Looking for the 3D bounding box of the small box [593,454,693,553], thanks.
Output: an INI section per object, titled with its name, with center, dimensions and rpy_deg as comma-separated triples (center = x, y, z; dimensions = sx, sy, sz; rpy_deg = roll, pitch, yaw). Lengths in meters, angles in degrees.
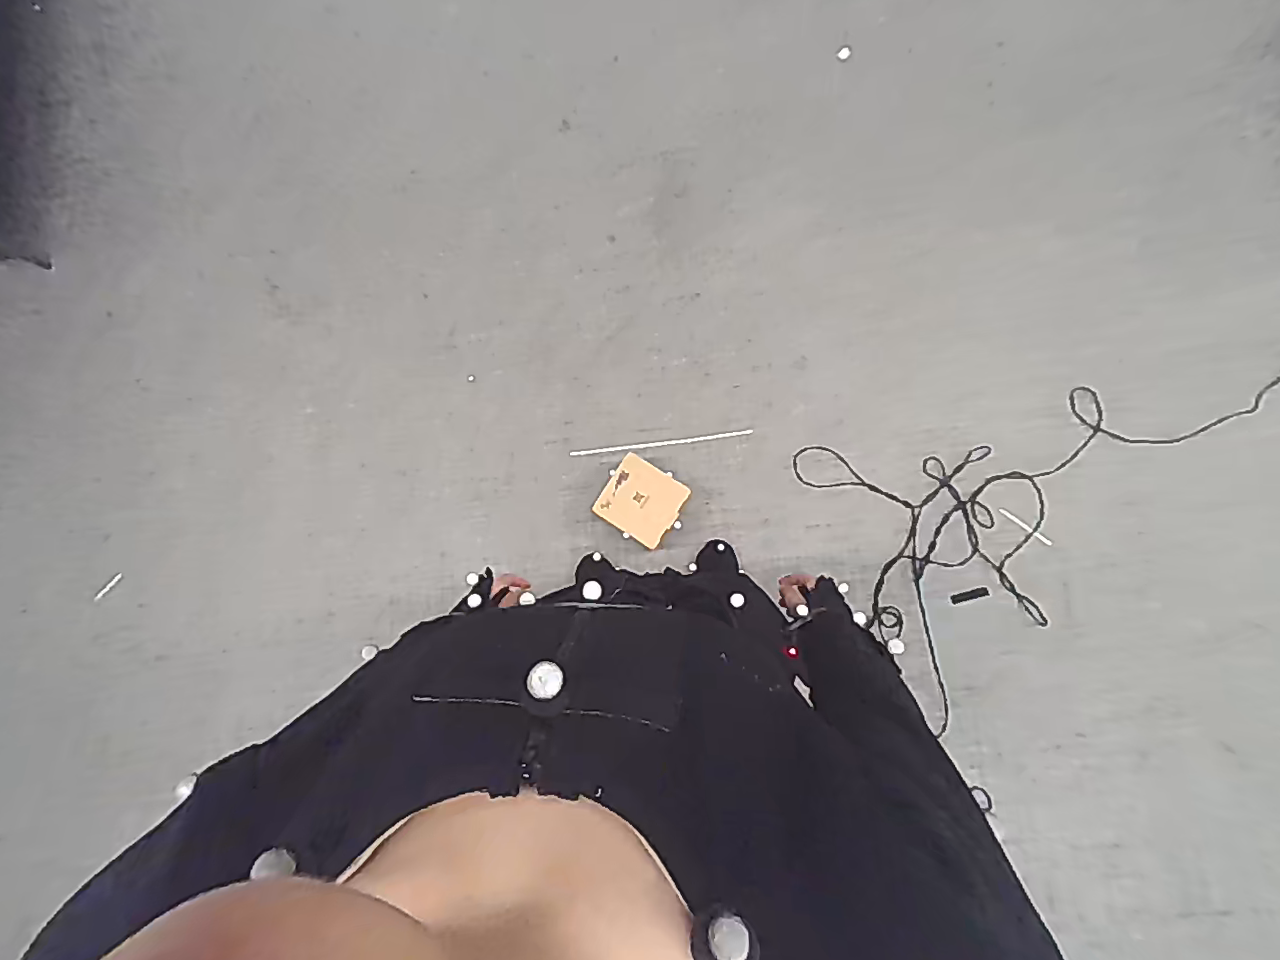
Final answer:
[small box]
center = 0.013, 0.058, 1.305
dimensions = 0.179, 0.176, 0.168
rpy_deg = 33, 87, 8
